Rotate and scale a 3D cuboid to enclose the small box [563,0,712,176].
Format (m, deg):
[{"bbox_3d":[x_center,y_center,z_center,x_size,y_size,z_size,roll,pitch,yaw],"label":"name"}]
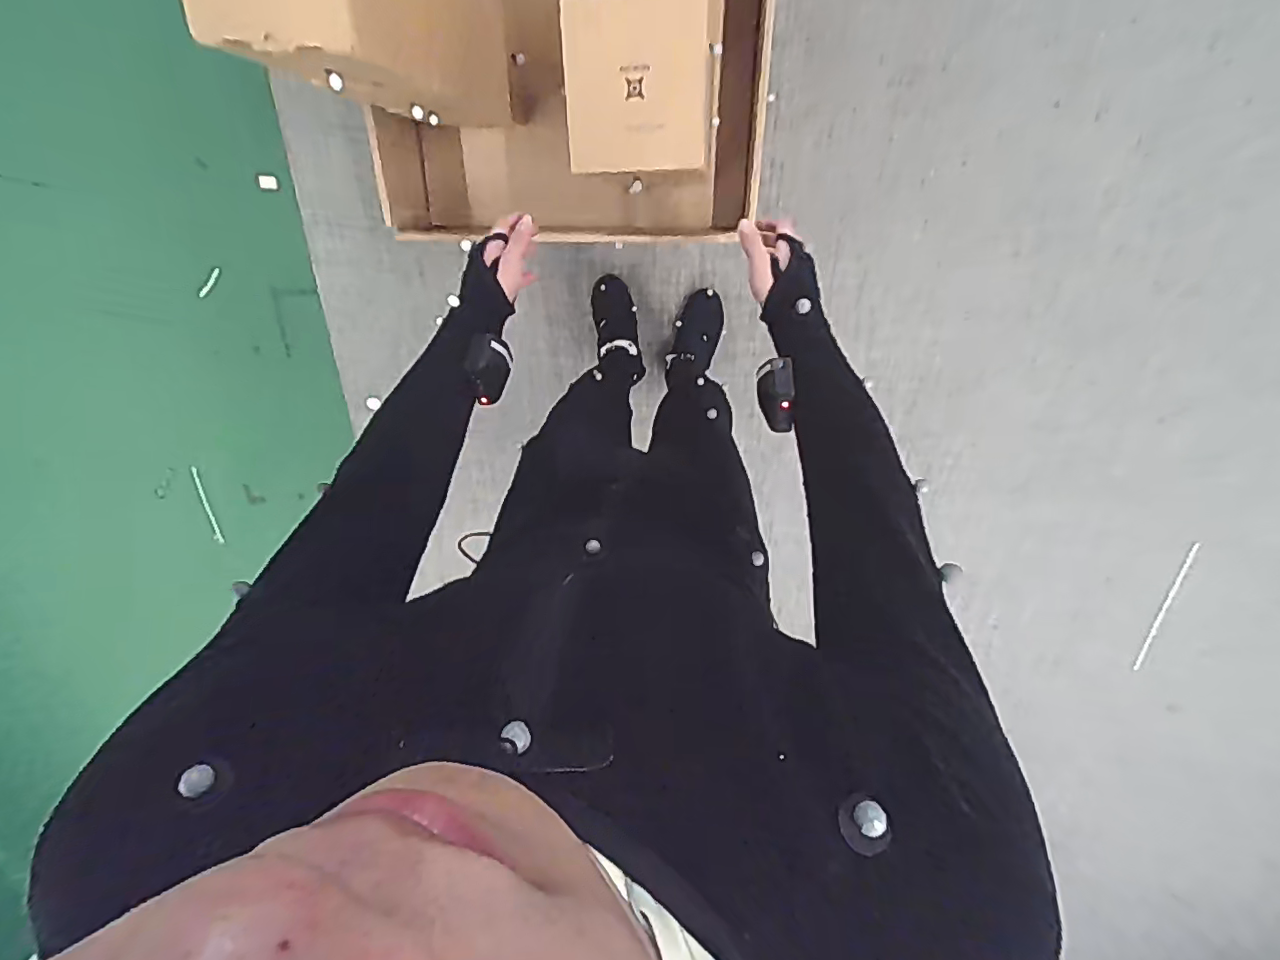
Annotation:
[{"bbox_3d":[0.005,-0.492,0.686,0.168,0.176,0.179,3,116,7],"label":"small box"}]

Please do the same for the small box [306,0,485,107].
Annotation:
[{"bbox_3d":[-0.306,-0.595,0.681,0.168,0.176,0.179,7,117,5],"label":"small box"}]

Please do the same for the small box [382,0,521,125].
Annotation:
[{"bbox_3d":[-0.288,-0.665,0.827,0.168,0.176,0.179,5,116,5],"label":"small box"}]

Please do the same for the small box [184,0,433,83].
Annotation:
[{"bbox_3d":[-0.323,-0.524,0.536,0.168,0.176,0.179,8,118,4],"label":"small box"}]
